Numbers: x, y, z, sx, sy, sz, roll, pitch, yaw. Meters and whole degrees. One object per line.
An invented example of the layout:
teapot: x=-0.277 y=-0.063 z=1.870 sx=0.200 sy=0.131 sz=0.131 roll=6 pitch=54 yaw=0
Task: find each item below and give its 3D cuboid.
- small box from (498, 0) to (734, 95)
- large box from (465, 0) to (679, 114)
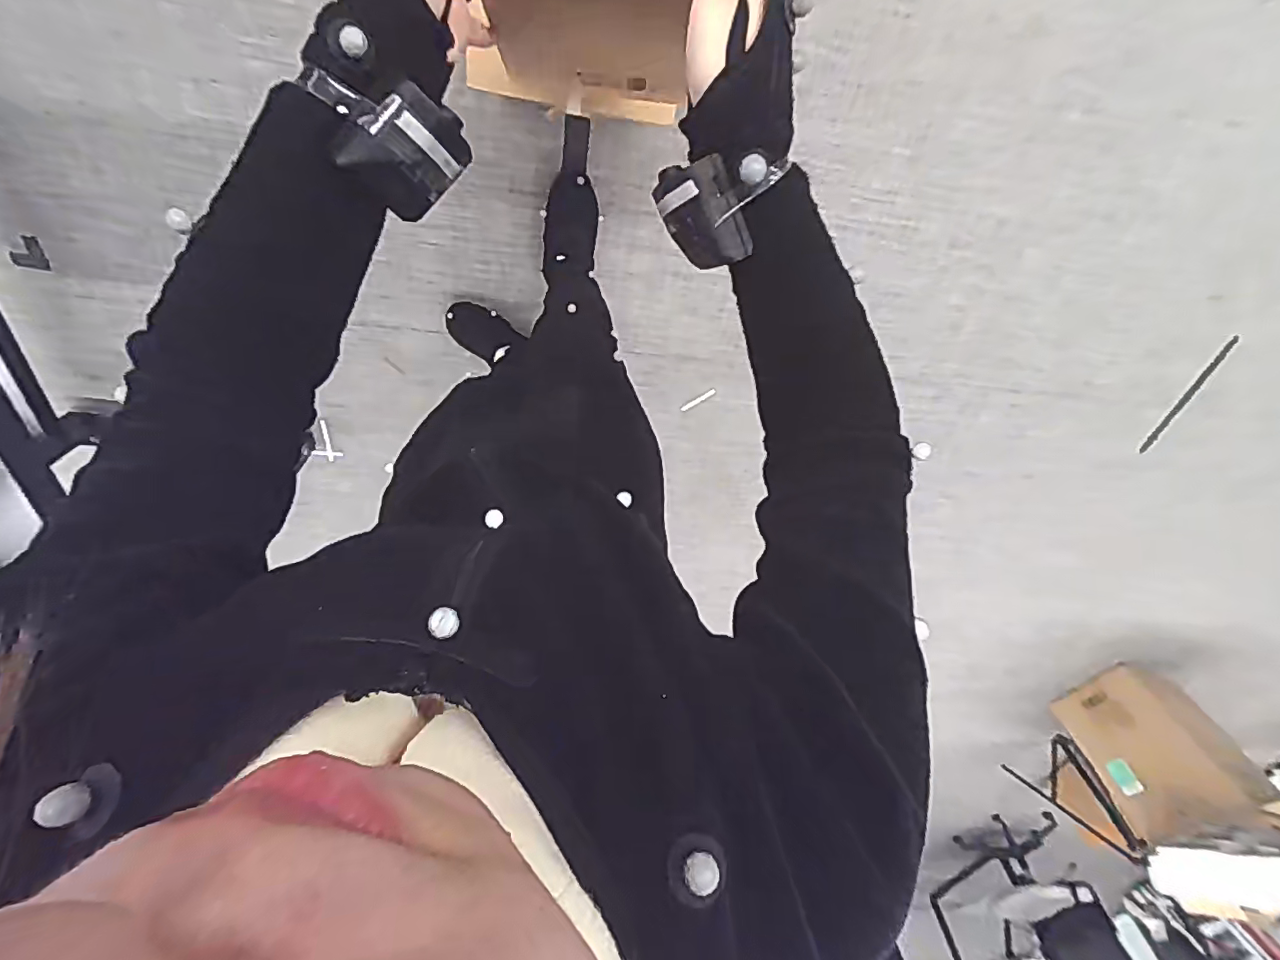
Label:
small box: x=-0.012 y=-0.398 z=0.347 sx=0.168 sy=0.176 sz=0.179 roll=6 pitch=92 yaw=0
large box: x=-0.078 y=-0.815 z=0.805 sx=0.320 sy=0.320 sz=0.408 roll=4 pitch=127 yaw=-10
